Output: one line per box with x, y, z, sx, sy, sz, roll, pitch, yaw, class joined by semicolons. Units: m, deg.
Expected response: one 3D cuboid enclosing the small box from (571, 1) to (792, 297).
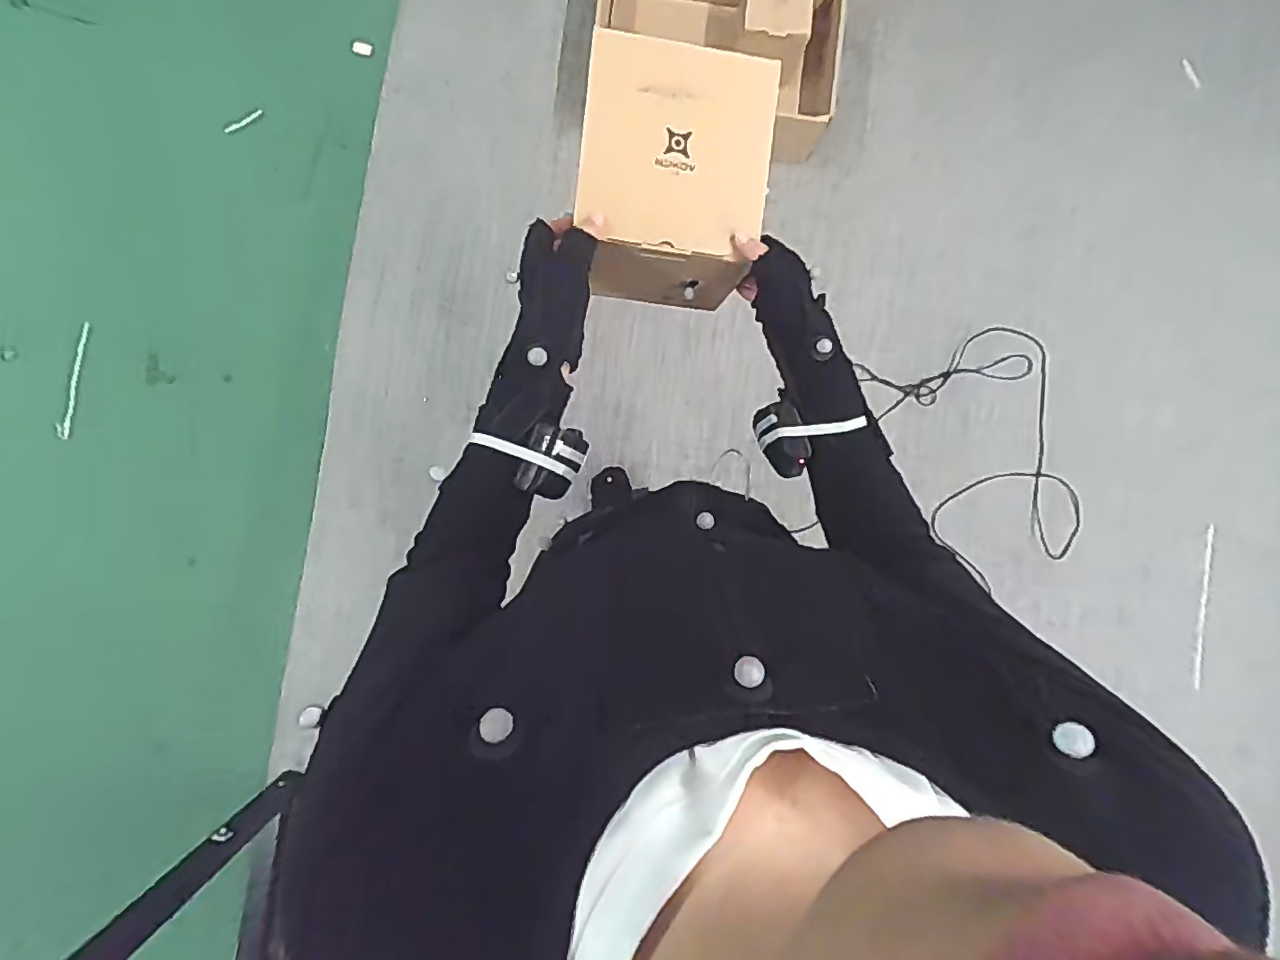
0.028;-0.293;0.523;0.168;0.176;0.179;7;92;-6;small box

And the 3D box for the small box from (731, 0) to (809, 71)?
0.327;-1.181;1.386;0.168;0.176;0.179;3;88;-1;small box
